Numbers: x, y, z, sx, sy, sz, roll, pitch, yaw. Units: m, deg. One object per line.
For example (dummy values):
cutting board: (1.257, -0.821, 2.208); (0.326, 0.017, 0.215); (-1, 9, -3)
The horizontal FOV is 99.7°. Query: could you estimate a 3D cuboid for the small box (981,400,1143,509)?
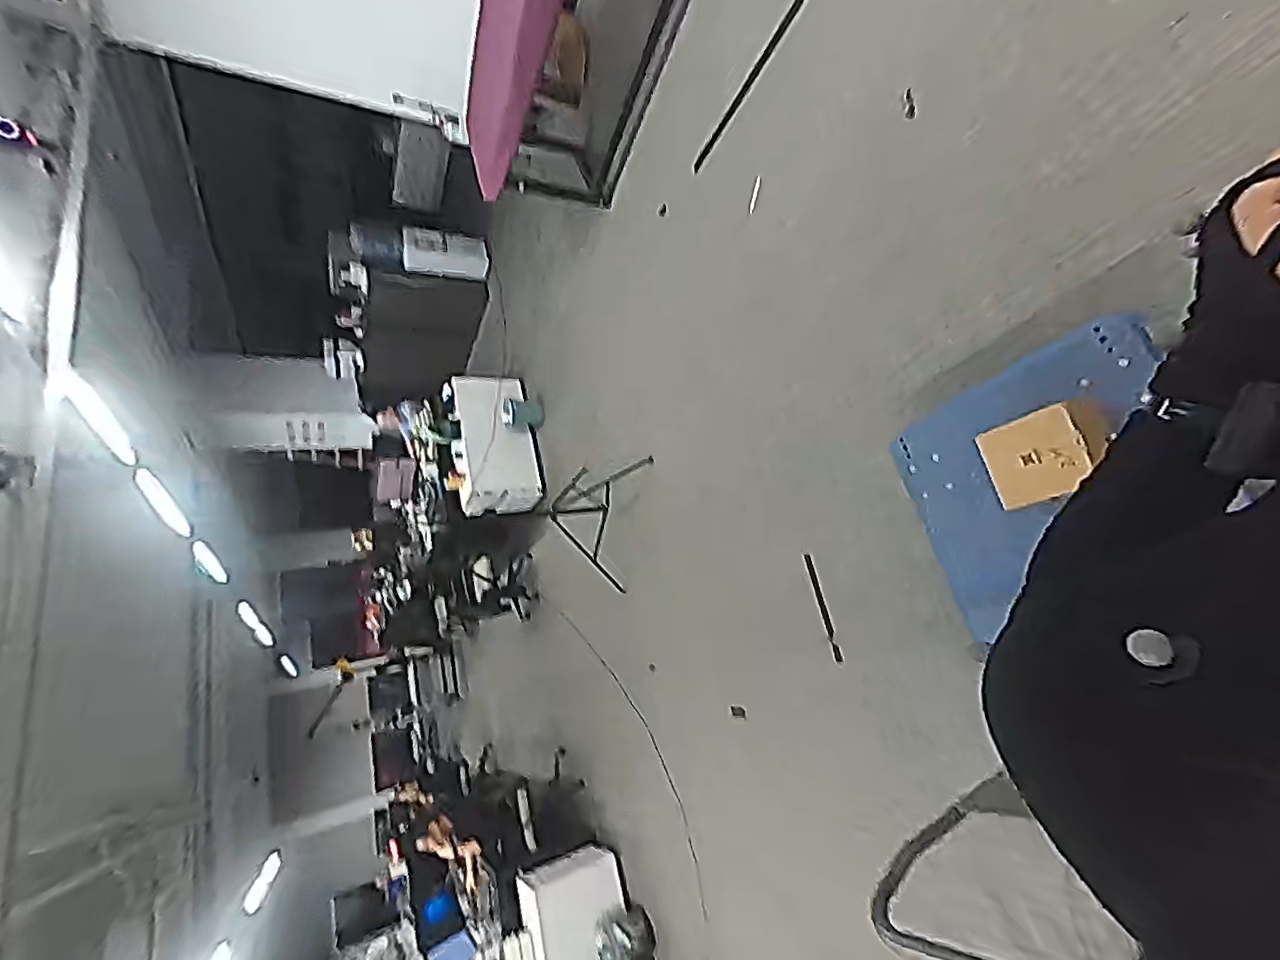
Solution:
small box: (0.840, -0.047, 1.083); (0.179, 0.176, 0.168); (-37, 63, 55)
